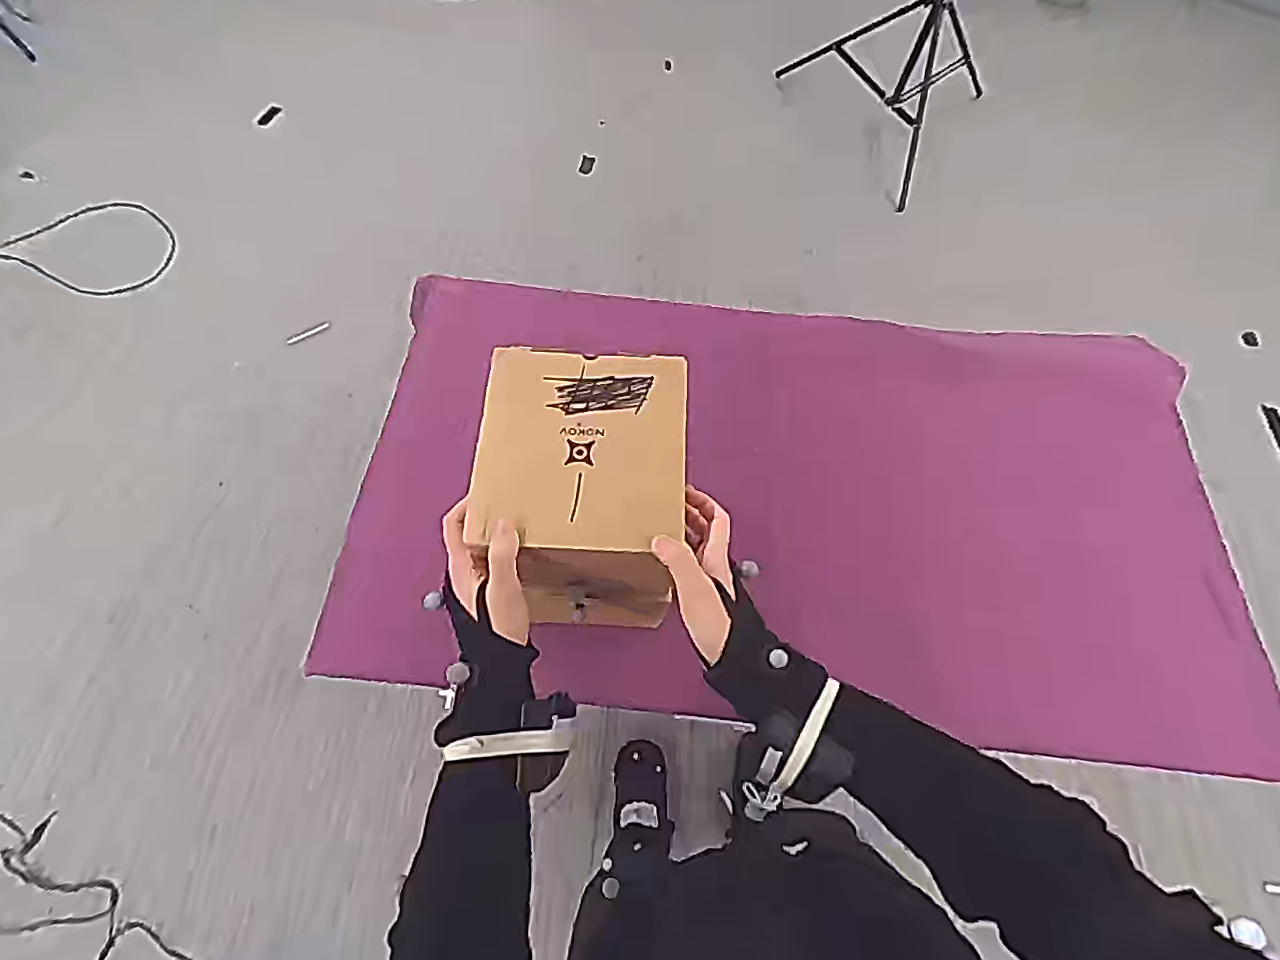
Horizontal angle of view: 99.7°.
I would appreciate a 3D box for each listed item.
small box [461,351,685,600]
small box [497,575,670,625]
[{"bbox_3d":[-0.050,0.005,0.503,0.168,0.176,0.179,3,67,0],"label":"small box"},{"bbox_3d":[-0.057,0.078,0.651,0.179,0.176,0.168,3,67,0],"label":"small box"}]
